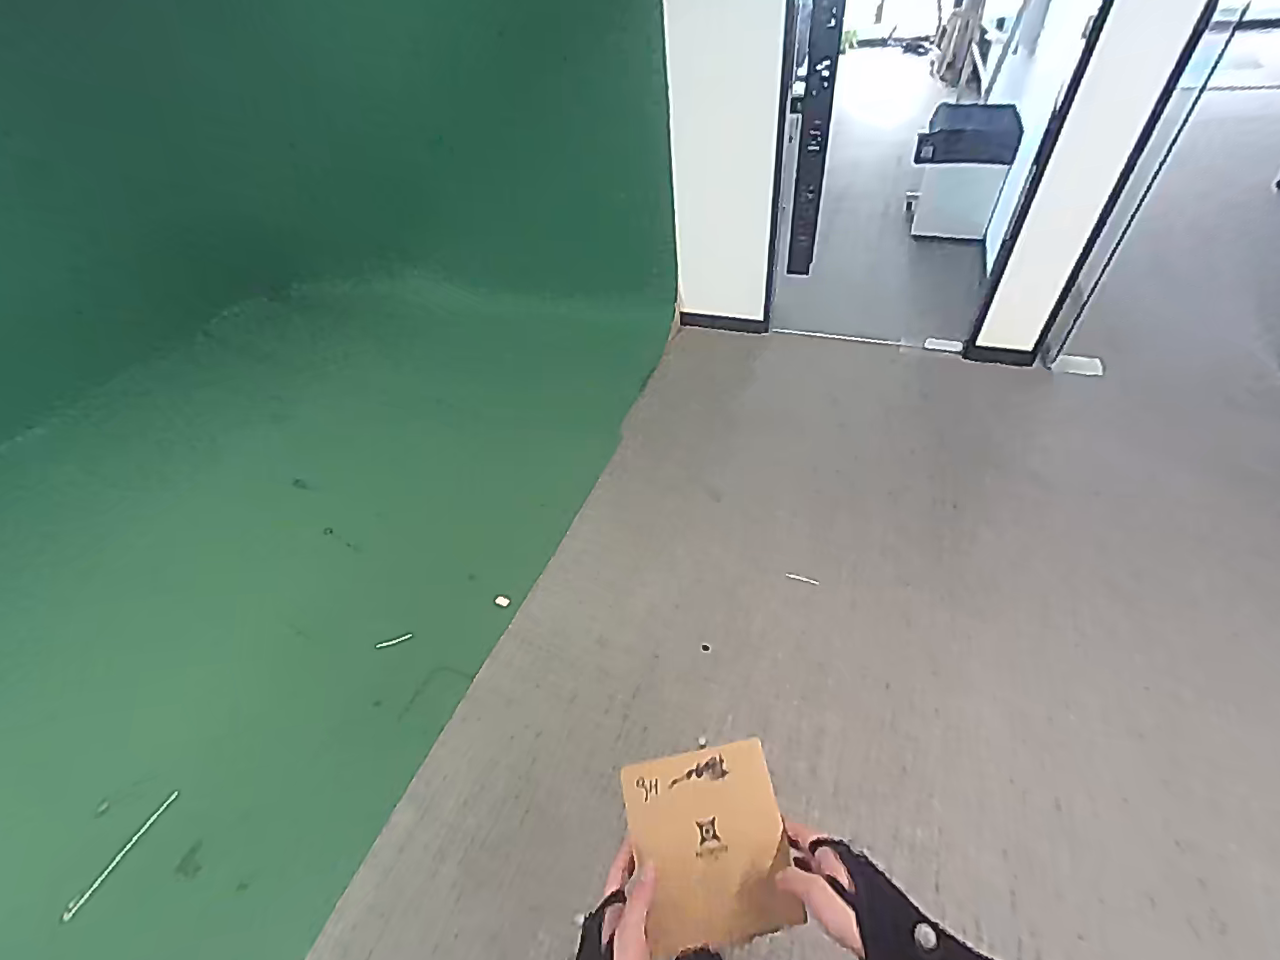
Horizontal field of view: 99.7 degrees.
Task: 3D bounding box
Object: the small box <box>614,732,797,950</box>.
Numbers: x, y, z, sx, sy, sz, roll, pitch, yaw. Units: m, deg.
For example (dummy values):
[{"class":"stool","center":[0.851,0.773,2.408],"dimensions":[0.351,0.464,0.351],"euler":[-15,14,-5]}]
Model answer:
[{"class":"small box","center":[0.069,0.409,0.644],"dimensions":[0.168,0.176,0.179],"euler":[-11,64,-2]}]
